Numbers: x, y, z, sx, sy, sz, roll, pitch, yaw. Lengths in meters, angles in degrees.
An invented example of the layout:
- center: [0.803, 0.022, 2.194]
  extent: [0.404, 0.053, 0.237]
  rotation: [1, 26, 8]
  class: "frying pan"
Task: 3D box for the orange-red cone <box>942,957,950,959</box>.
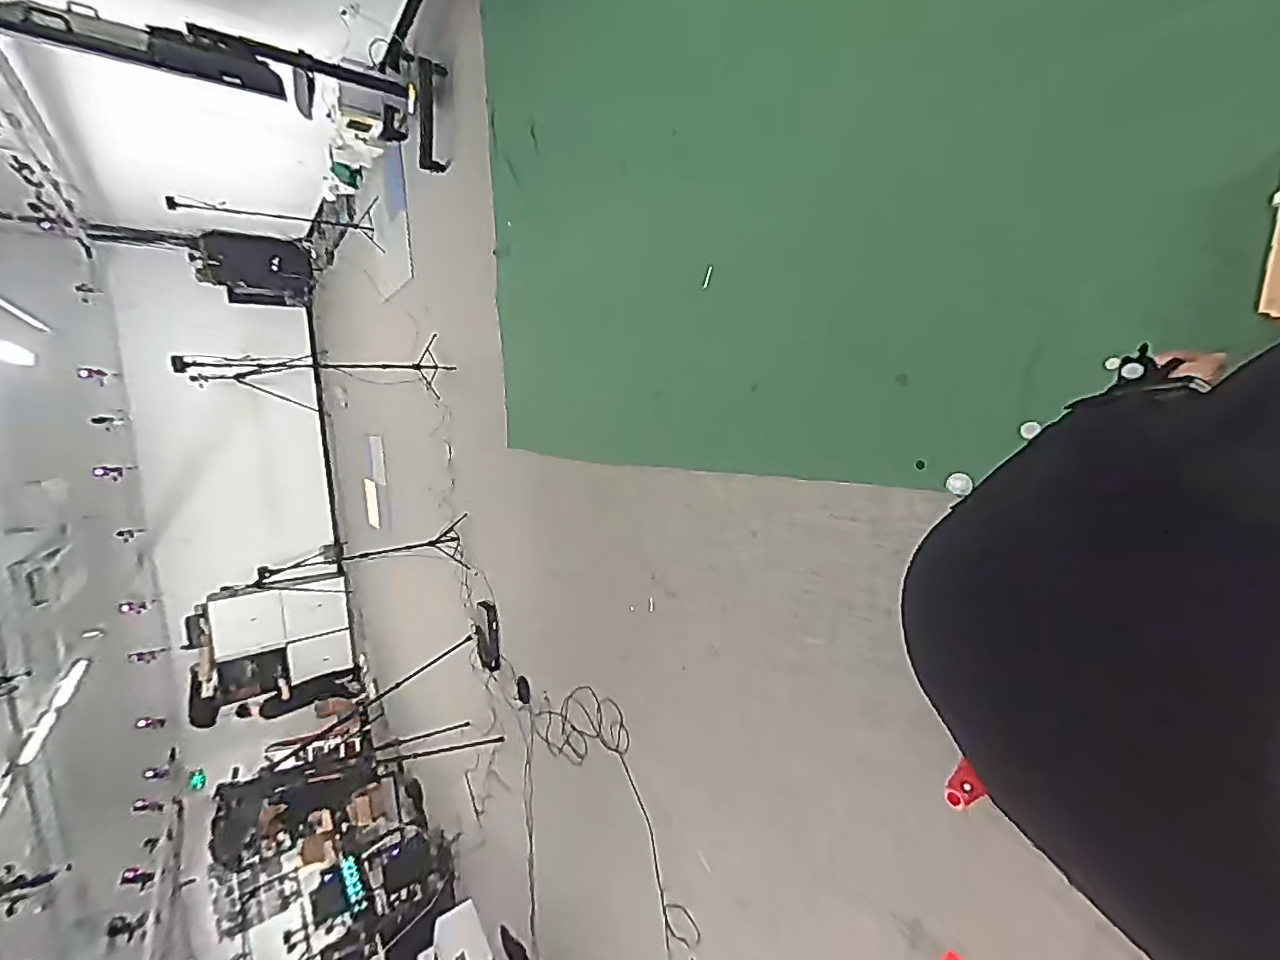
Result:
- center: [0.721, 1.412, 1.317]
  extent: [0.199, 0.360, 0.198]
  rotation: [37, 123, 45]
  class: "orange-red cone"
